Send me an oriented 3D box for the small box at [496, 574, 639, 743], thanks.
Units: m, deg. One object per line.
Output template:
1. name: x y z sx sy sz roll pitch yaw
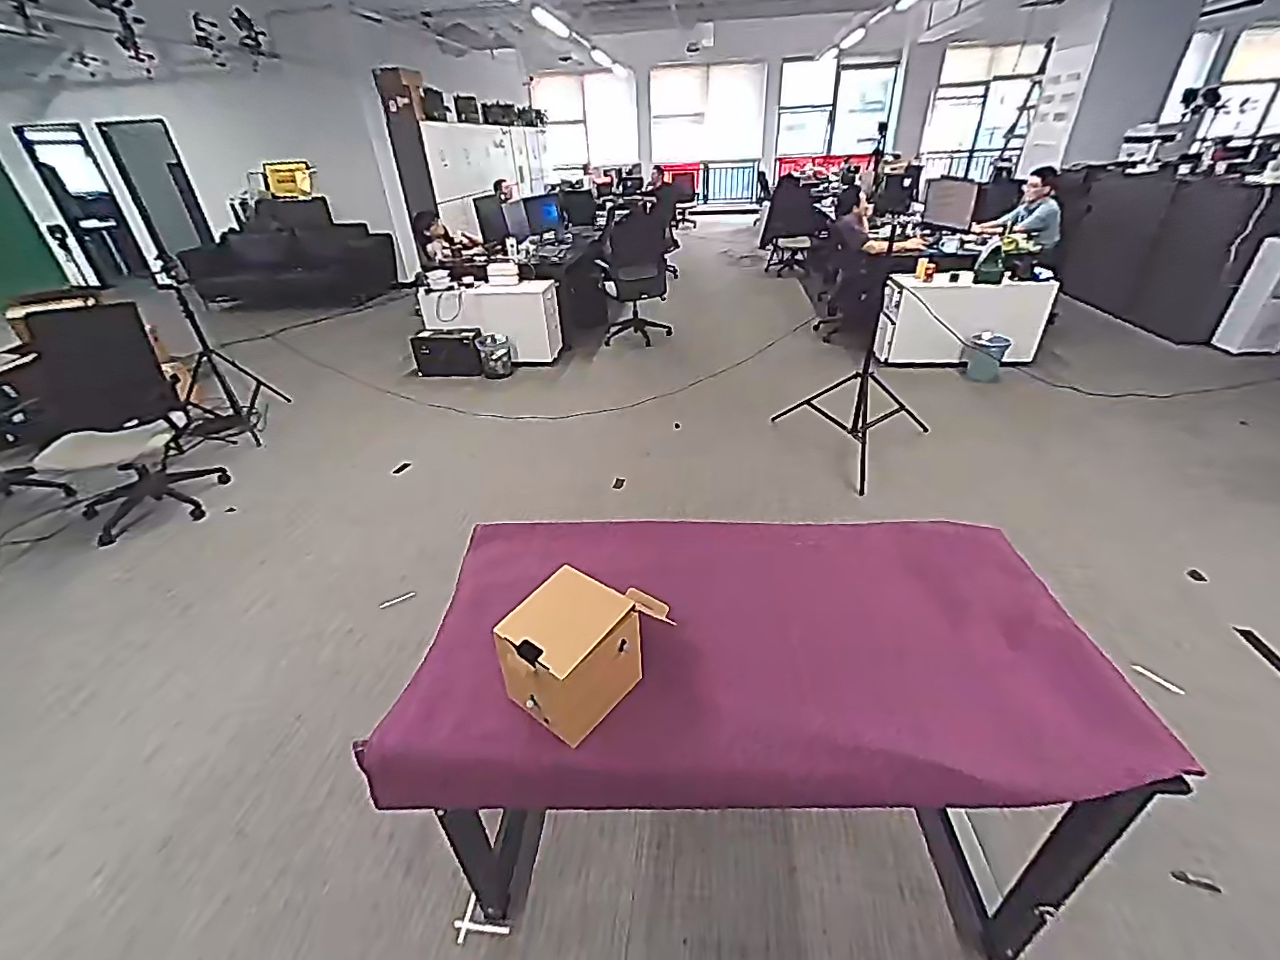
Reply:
1. small box: -0.116 0.298 0.922 0.168 0.176 0.179 20 38 34
